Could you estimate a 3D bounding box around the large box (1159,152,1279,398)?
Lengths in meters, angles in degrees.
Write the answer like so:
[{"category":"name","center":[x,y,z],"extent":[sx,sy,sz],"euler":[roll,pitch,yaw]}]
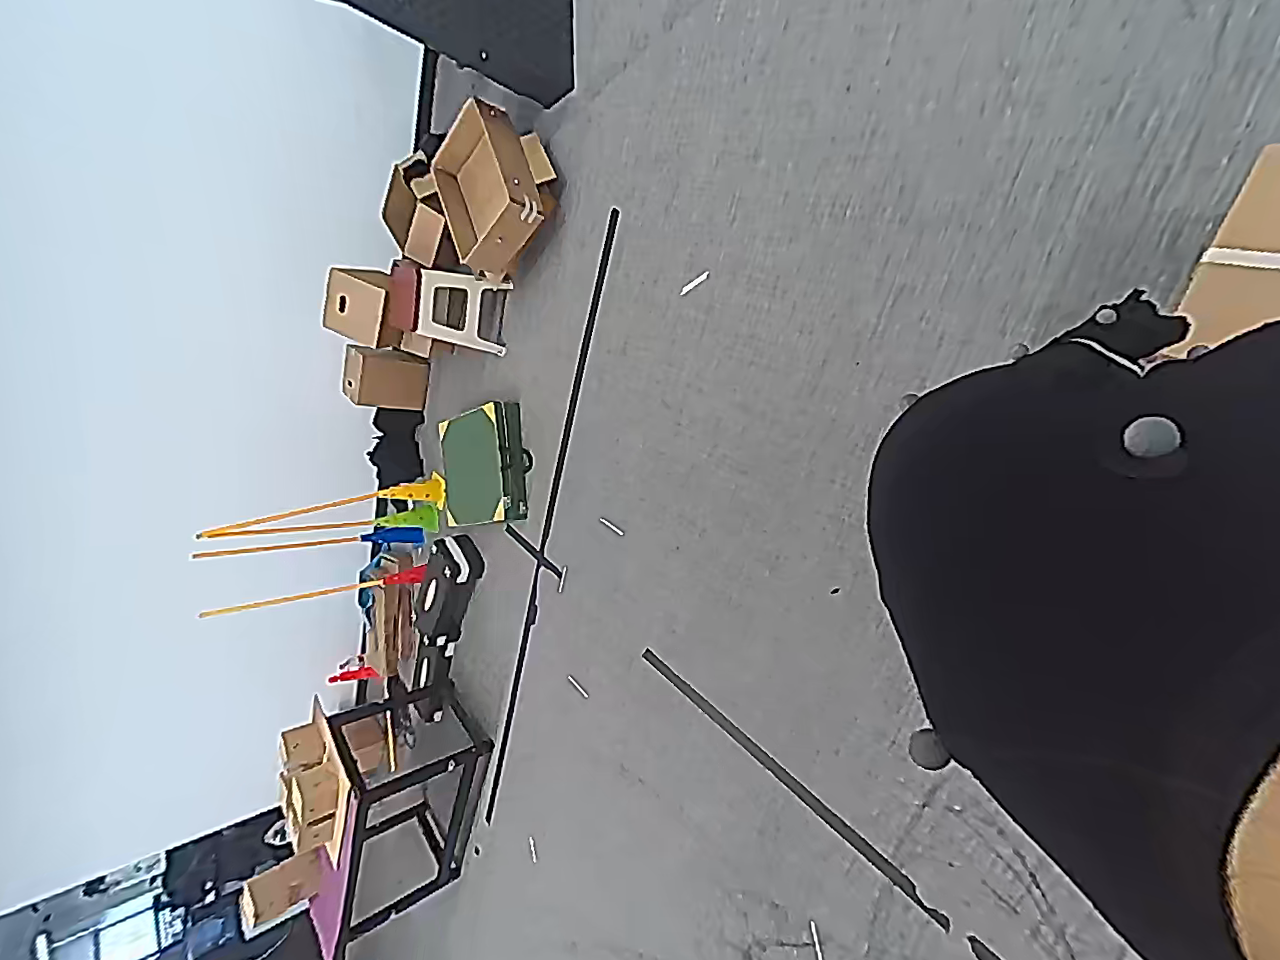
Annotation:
[{"category":"large box","center":[1.122,-0.278,0.826],"extent":[0.408,0.320,0.320],"euler":[30,114,39]}]
